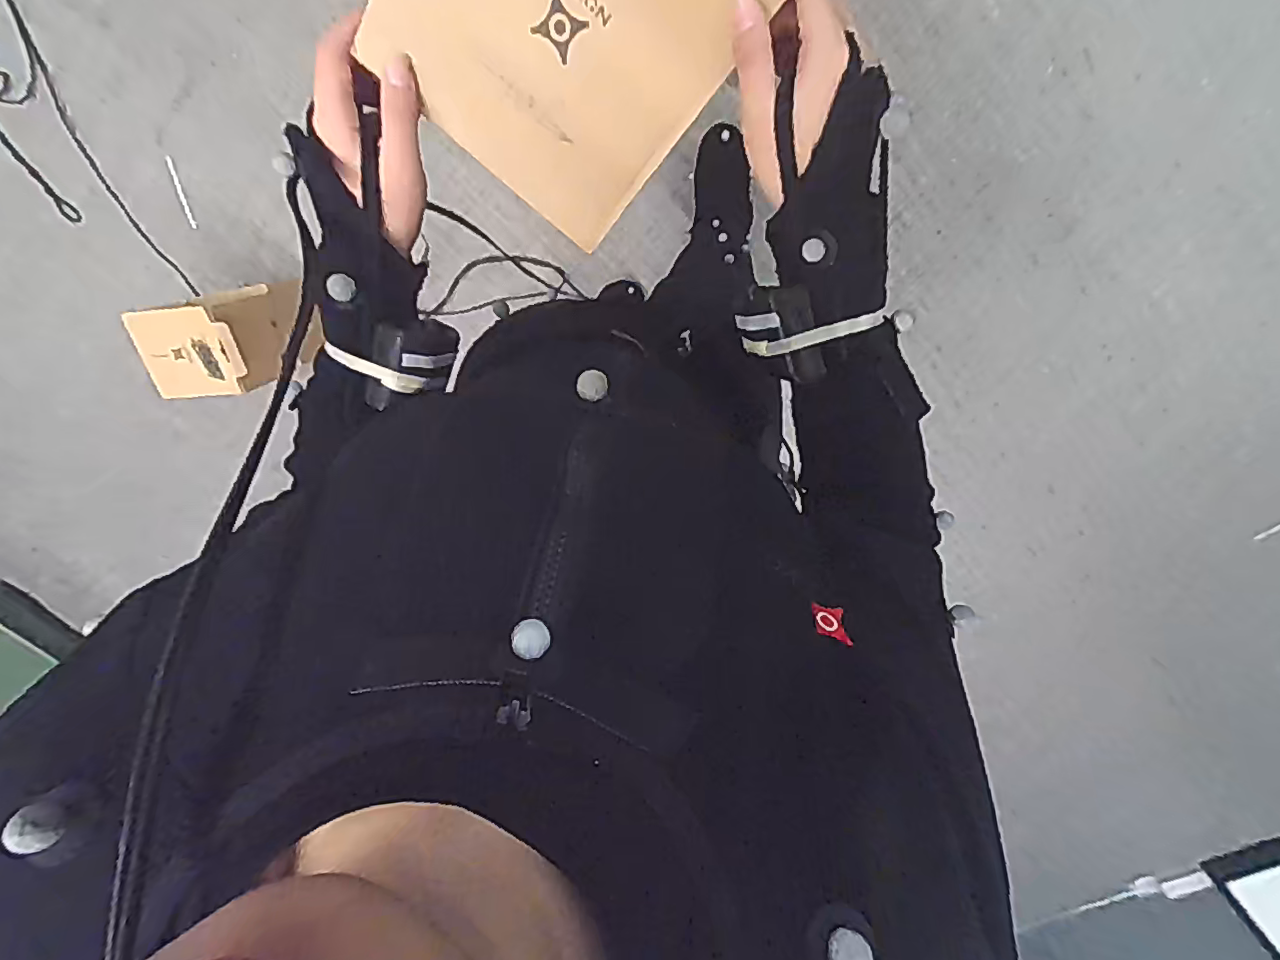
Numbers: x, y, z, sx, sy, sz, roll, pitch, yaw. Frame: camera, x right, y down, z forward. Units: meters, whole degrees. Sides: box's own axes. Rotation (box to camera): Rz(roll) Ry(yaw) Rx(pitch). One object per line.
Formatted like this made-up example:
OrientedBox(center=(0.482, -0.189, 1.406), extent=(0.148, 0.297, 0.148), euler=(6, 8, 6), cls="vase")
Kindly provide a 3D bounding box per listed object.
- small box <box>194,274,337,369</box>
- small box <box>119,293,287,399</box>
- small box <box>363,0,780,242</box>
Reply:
OrientedBox(center=(-0.825, -0.350, 1.215), extent=(0.168, 0.176, 0.179), euler=(-7, 117, 8), cls="small box")
OrientedBox(center=(-0.844, -0.270, 1.072), extent=(0.179, 0.176, 0.168), euler=(-3, 116, 6), cls="small box")
OrientedBox(center=(-0.031, -0.295, 0.339), extent=(0.168, 0.176, 0.179), euler=(34, 124, -20), cls="small box")
